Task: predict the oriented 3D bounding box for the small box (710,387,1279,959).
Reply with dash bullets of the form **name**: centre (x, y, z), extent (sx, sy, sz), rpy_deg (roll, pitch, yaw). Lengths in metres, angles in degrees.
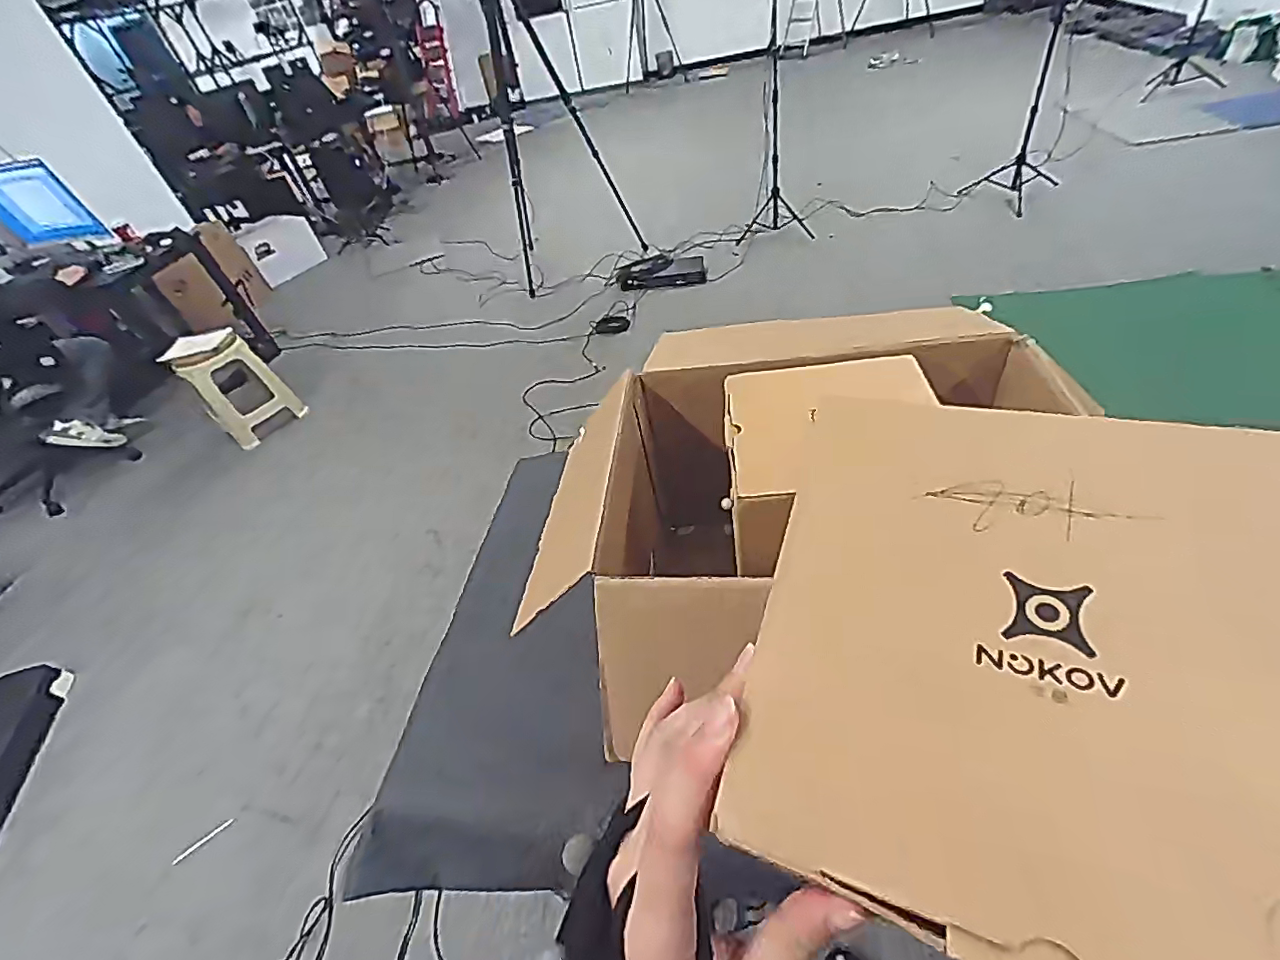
- **small box**: centre (0.142, 0.088, 0.223), extent (0.168, 0.176, 0.179), rpy_deg (10, 57, 23)
